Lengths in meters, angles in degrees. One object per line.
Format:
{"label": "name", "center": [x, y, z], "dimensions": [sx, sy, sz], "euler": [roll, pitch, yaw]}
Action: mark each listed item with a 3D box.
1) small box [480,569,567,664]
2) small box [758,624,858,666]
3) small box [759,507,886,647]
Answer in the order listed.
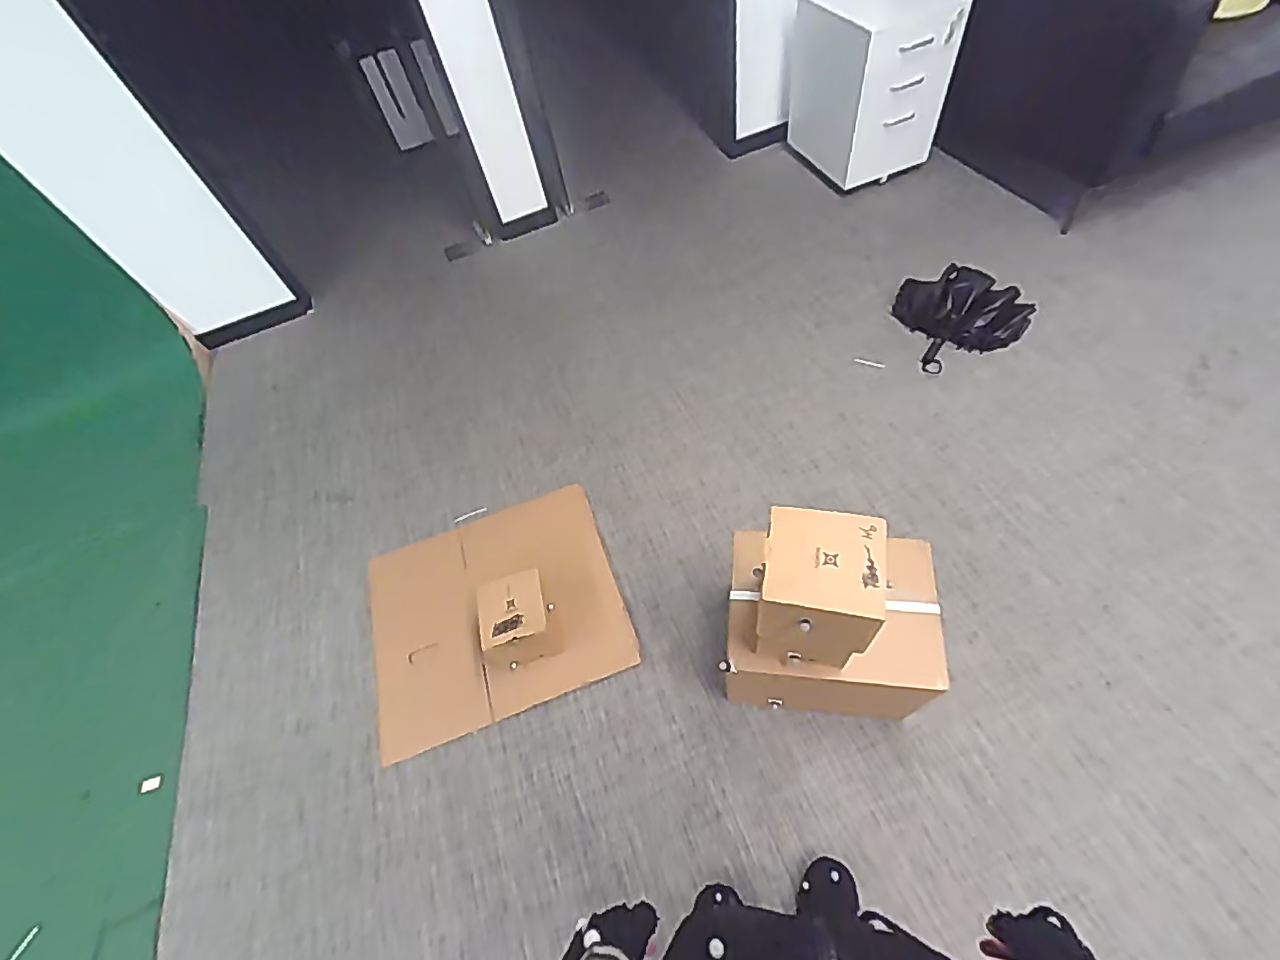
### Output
{"label": "small box", "center": [-0.299, 0.362, 1.402], "dimensions": [0.168, 0.176, 0.179], "euler": [-17, 54, -1]}
{"label": "small box", "center": [0.313, 0.235, 1.025], "dimensions": [0.168, 0.176, 0.179], "euler": [3, 59, 13]}
{"label": "small box", "center": [0.288, 0.161, 0.883], "dimensions": [0.179, 0.176, 0.168], "euler": [4, 56, 13]}
